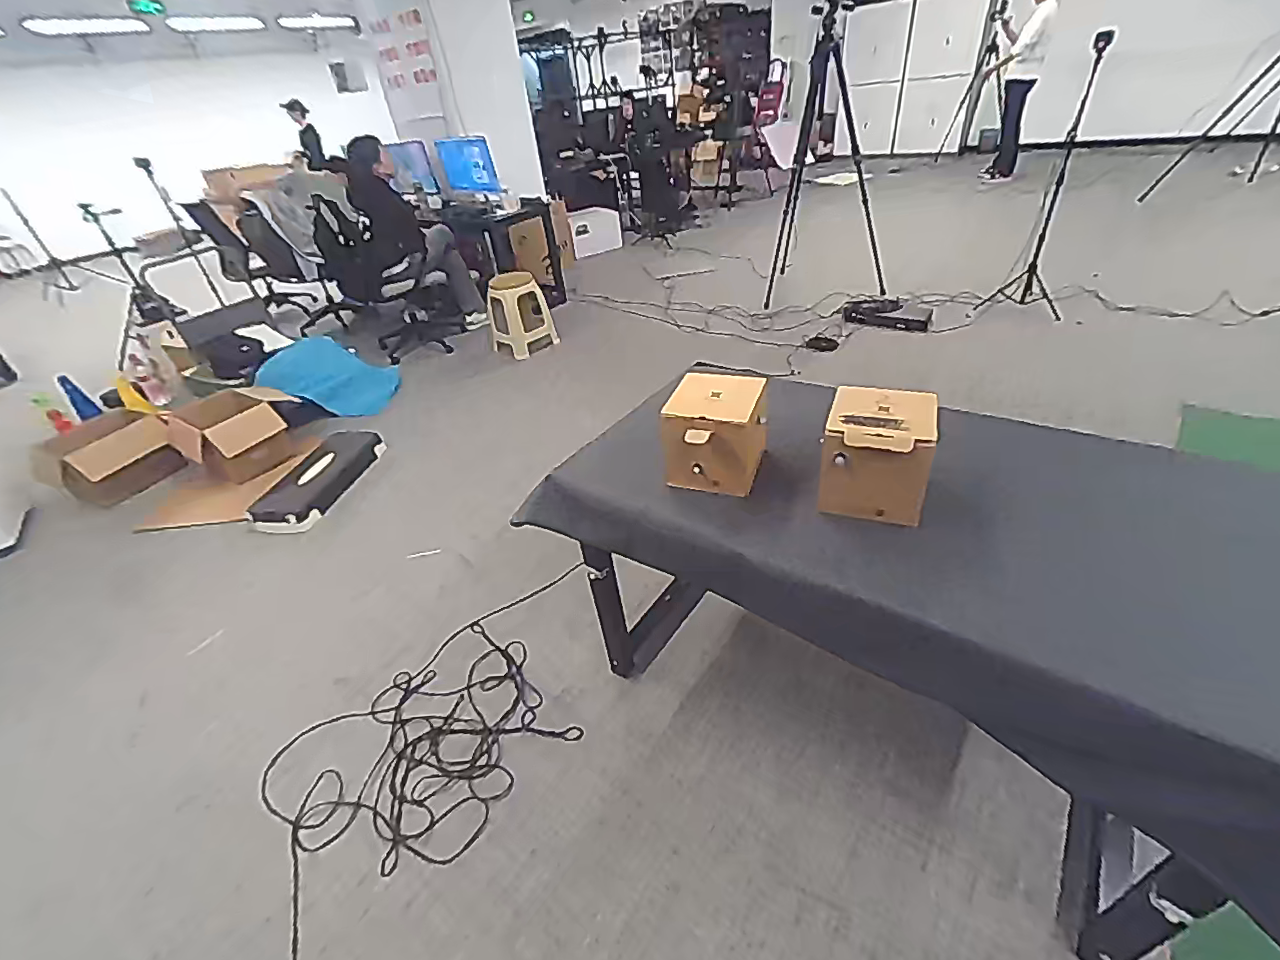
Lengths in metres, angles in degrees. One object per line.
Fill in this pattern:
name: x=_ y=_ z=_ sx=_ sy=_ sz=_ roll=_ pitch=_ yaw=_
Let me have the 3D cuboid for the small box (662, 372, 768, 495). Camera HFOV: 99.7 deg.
small box: x=0.152 y=-0.095 z=1.069 sx=0.168 sy=0.176 sz=0.179 roll=9 pitch=40 yaw=20
